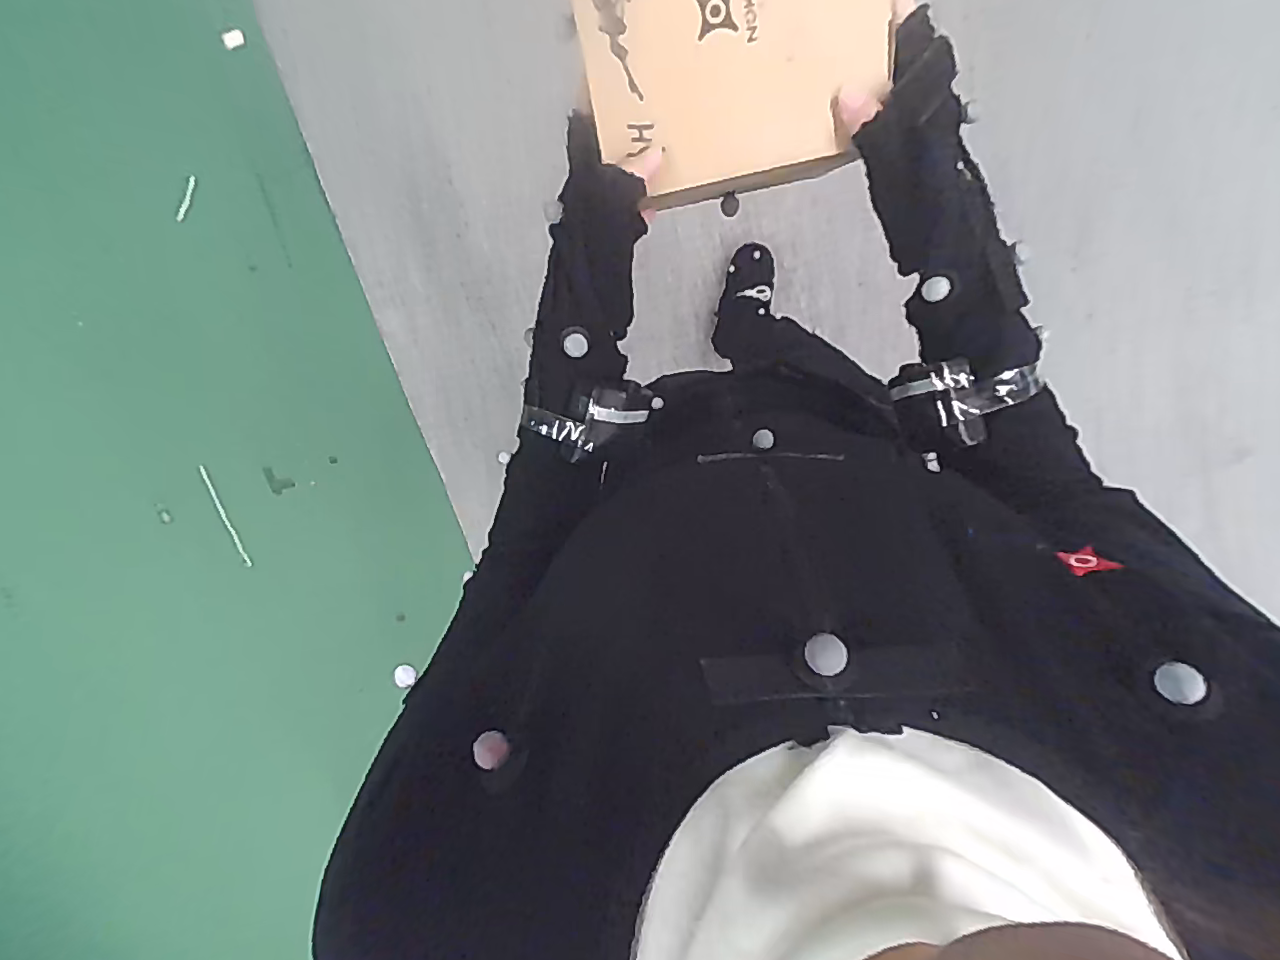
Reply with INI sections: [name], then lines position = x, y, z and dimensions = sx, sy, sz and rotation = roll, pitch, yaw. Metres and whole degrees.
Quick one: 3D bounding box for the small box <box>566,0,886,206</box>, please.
[small box]
position = 0.049, -0.298, 0.373
dimensions = 0.179, 0.176, 0.168
rotation = -8, 112, 6
